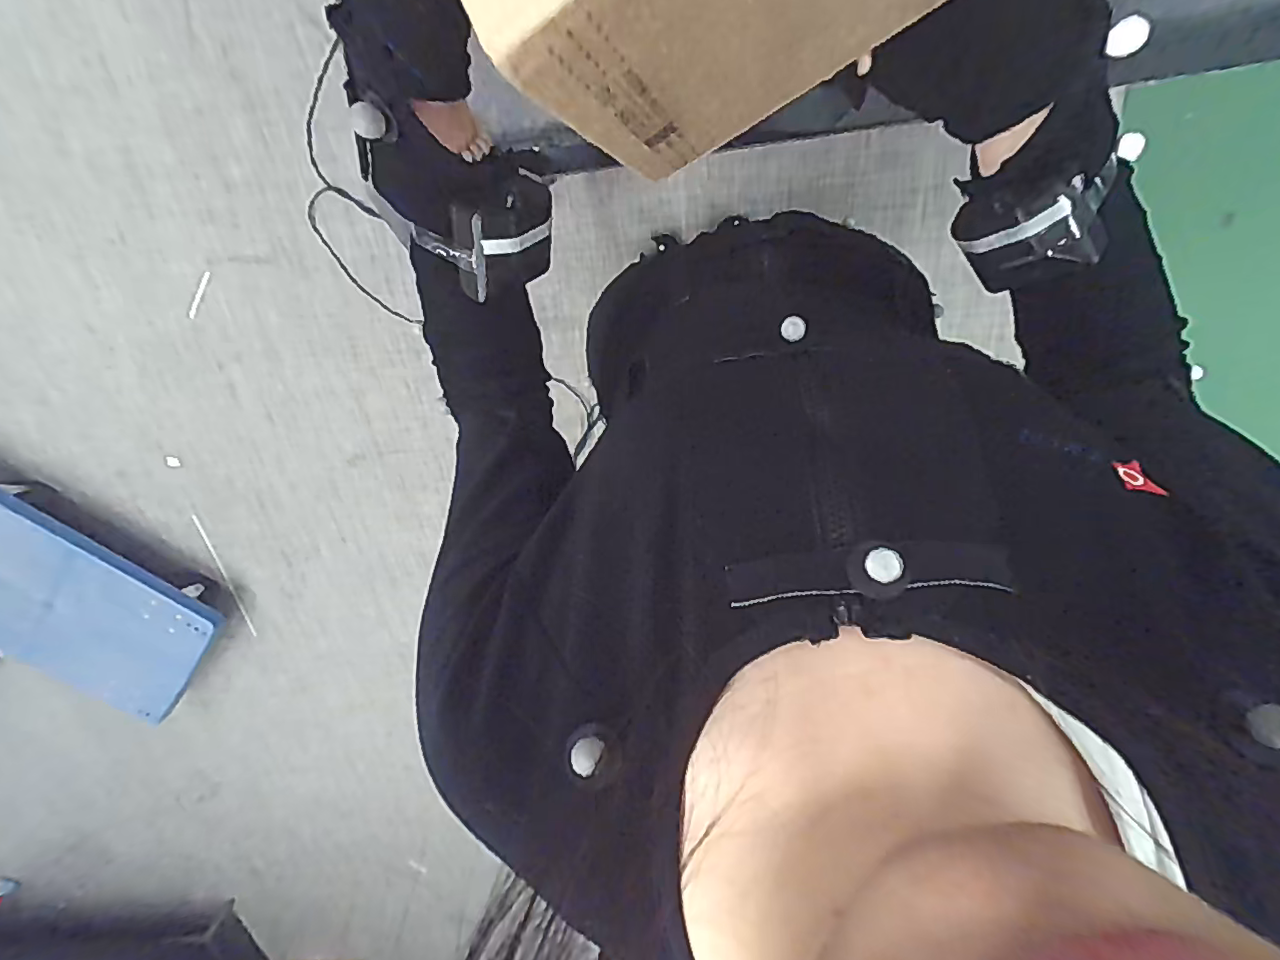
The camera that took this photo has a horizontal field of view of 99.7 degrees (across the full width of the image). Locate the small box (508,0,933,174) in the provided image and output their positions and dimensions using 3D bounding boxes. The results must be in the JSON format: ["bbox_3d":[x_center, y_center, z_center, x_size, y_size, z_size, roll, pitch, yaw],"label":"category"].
[{"bbox_3d":[0.021,-0.242,0.170,0.176,0.168,0.179,-23,98,24],"label":"small box"}]
